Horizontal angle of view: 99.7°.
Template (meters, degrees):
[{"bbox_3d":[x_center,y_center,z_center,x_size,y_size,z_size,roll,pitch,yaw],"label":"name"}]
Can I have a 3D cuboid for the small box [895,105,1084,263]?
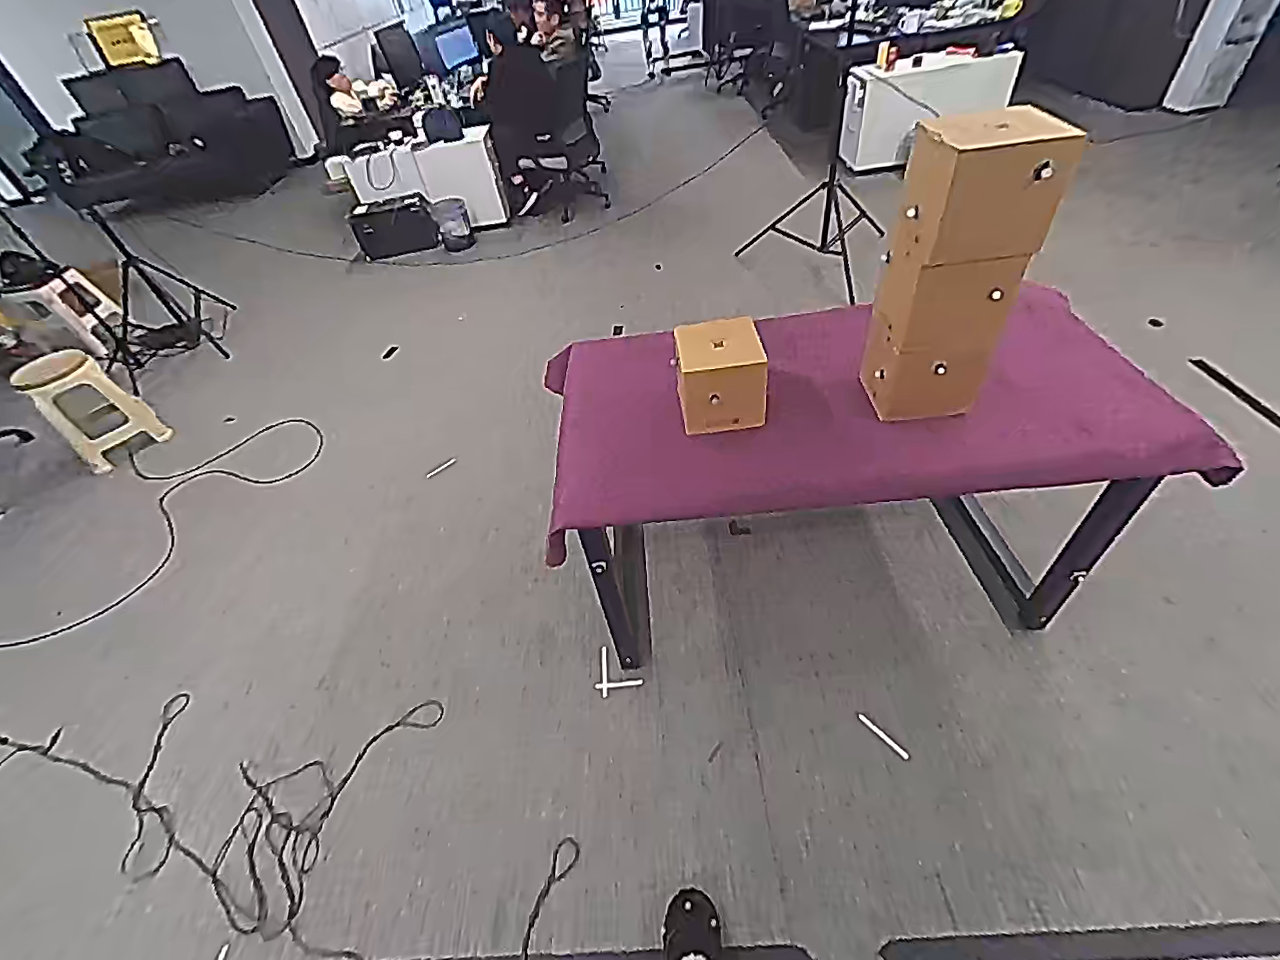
[{"bbox_3d":[0.534,-0.467,0.859,0.179,0.176,0.168,-6,45,5],"label":"small box"}]

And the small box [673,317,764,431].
[{"bbox_3d":[0.166,-0.218,1.147,0.168,0.176,0.179,-8,45,3],"label":"small box"}]

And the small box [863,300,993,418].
[{"bbox_3d":[0.566,-0.240,1.096,0.179,0.176,0.168,-5,46,4],"label":"small box"}]
